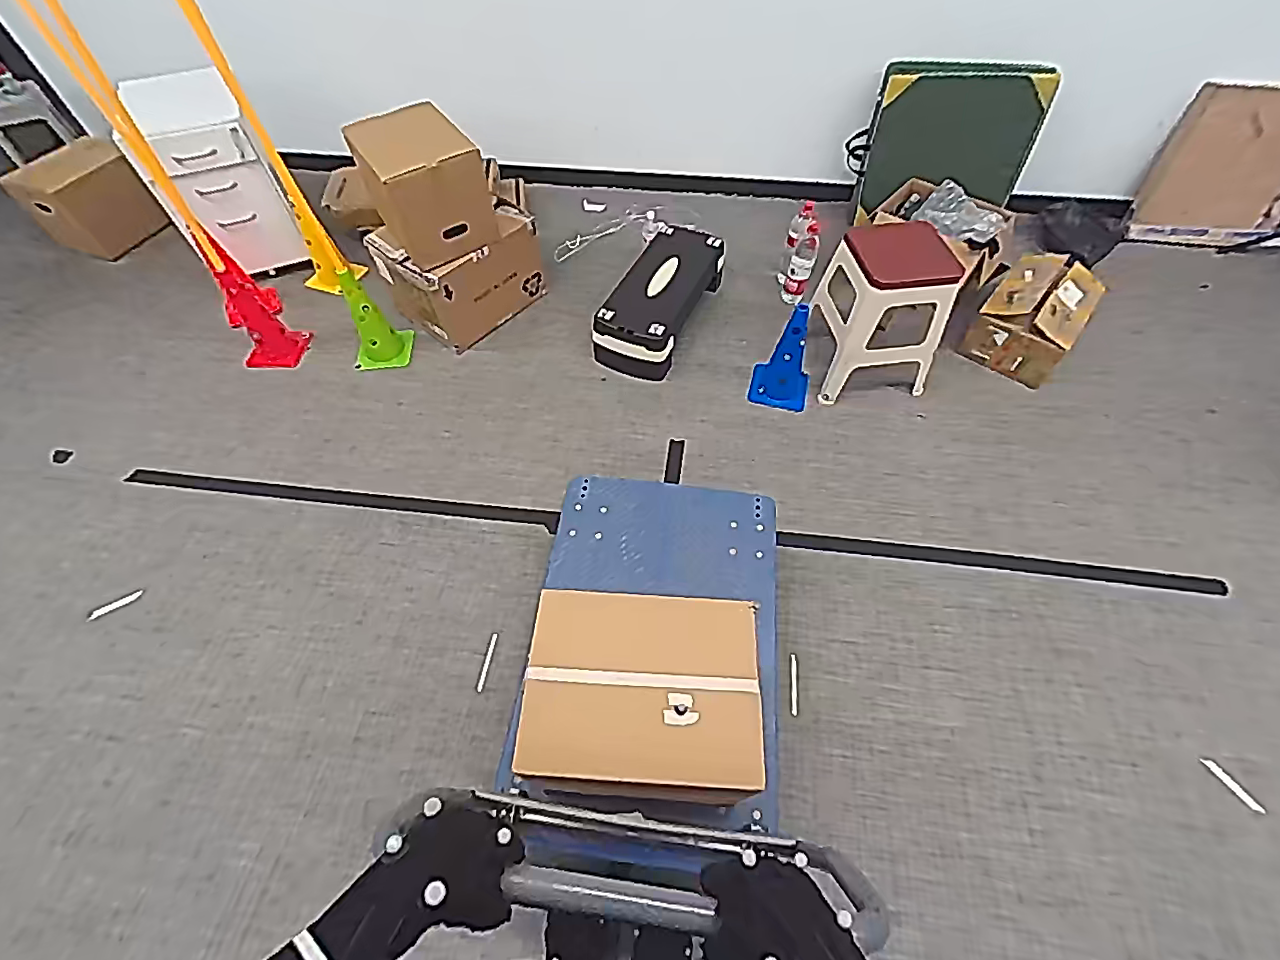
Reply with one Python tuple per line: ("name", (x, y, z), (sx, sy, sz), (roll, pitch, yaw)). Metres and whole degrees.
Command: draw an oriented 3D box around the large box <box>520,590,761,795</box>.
("large box", (0.001, 0.433, 1.081), (0.408, 0.320, 0.320), (4, 57, 1))
